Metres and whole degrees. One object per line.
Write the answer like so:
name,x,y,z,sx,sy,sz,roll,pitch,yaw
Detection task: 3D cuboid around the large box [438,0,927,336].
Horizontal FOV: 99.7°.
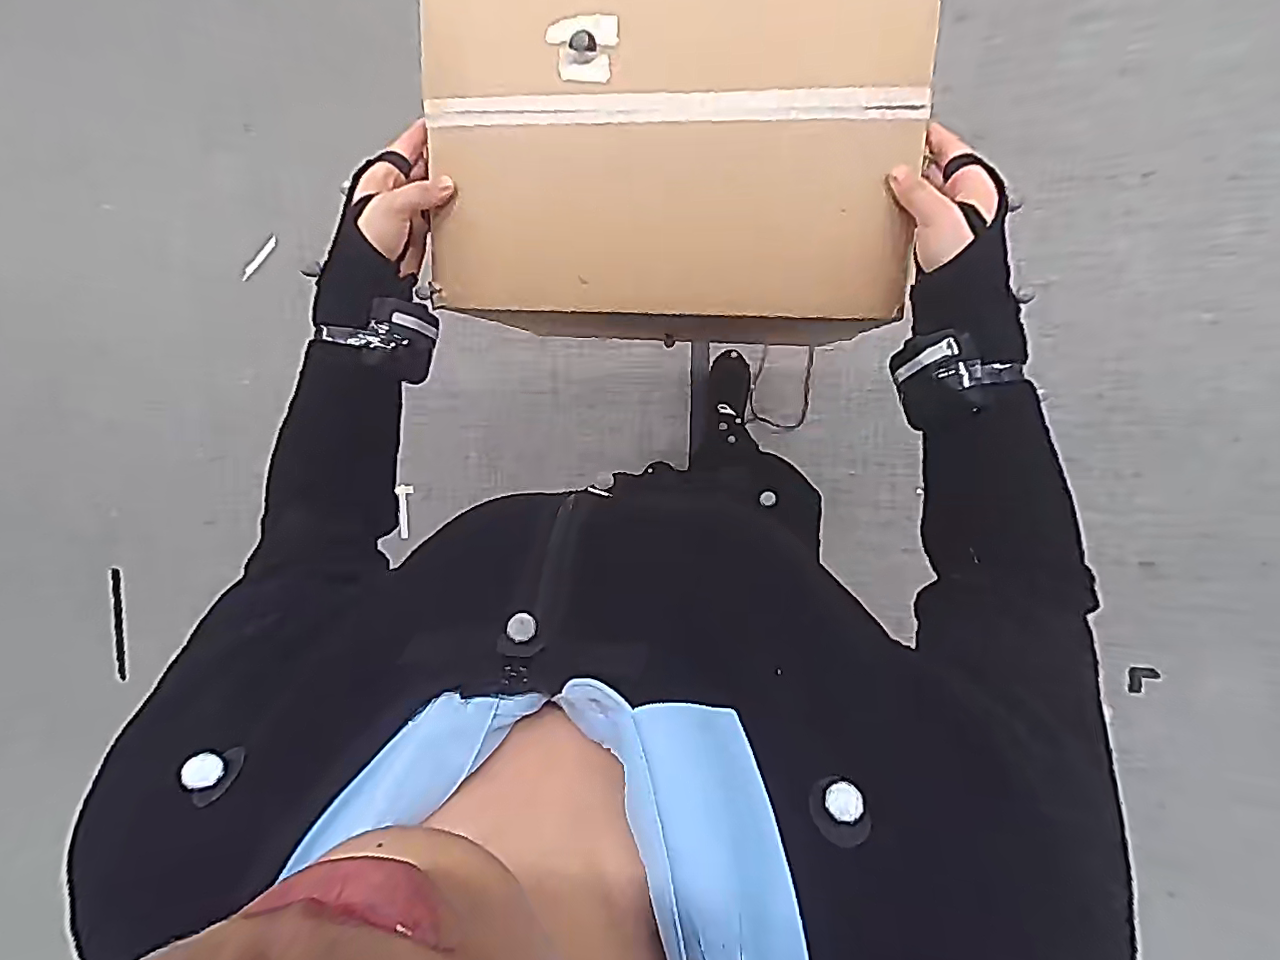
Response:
large box,0.043,-0.327,0.595,0.408,0.320,0.320,3,99,7
